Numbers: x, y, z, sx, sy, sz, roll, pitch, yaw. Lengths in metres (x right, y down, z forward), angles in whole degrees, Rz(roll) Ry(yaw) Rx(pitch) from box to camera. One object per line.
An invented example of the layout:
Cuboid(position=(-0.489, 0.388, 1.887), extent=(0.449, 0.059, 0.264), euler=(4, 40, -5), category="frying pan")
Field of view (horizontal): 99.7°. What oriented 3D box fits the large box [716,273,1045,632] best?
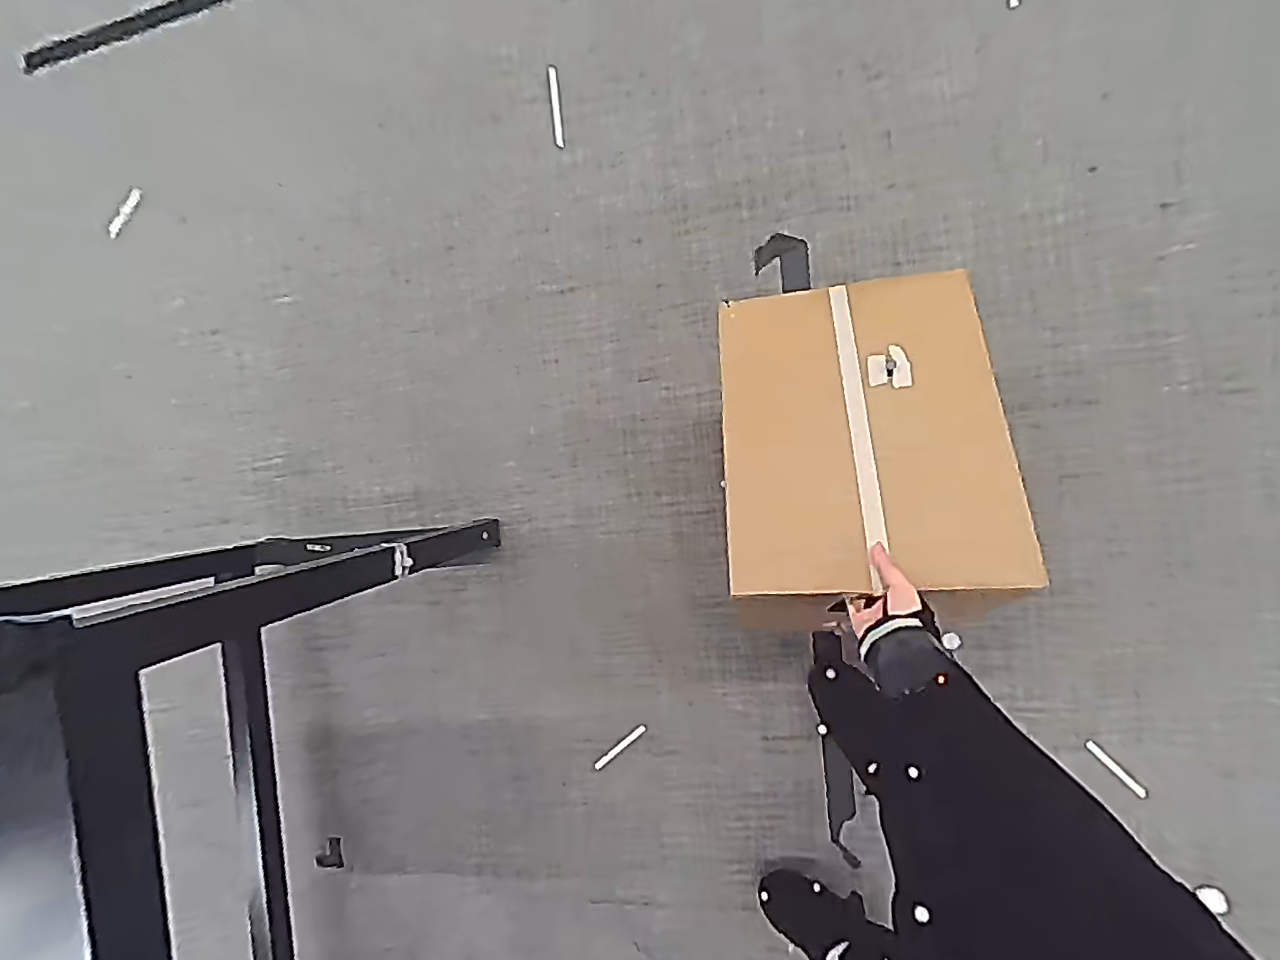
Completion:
Cuboid(position=(0.286, -0.012, 0.771), extent=(0.320, 0.320, 0.408), euler=(-4, 65, 11), category="large box")
